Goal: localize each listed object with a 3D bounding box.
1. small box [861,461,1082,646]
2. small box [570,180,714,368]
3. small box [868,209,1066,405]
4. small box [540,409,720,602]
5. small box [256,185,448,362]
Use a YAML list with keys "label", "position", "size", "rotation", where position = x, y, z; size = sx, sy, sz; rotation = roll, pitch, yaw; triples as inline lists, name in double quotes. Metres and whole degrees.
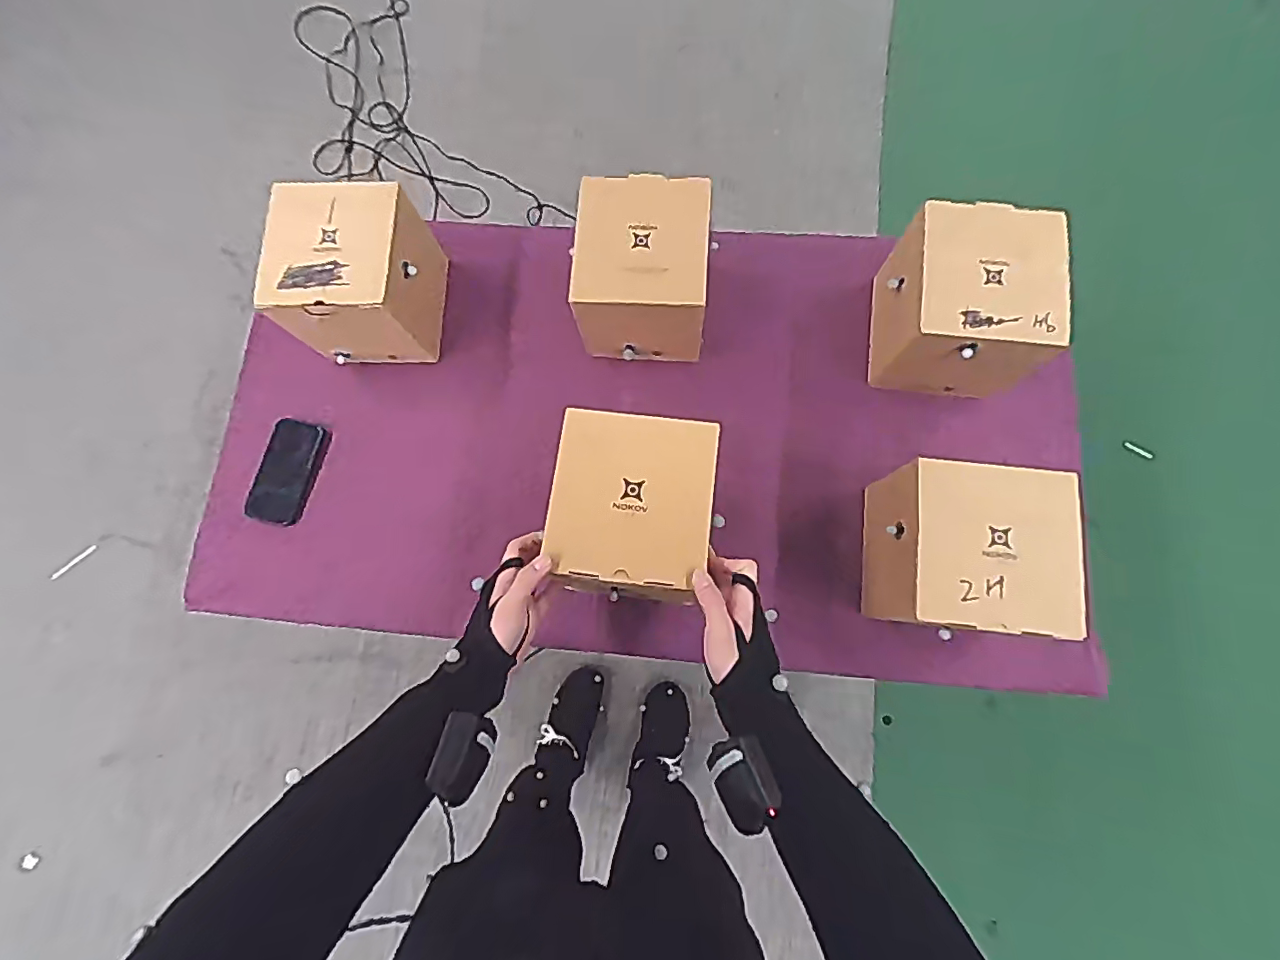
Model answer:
- label: "small box"
  position: [0.372, 0.090, 0.638]
  size: [0.168, 0.176, 0.179]
  rotation: [7, 78, 6]
- label: "small box"
  position: [0.006, -0.272, 0.738]
  size: [0.168, 0.176, 0.179]
  rotation: [4, 78, 4]
- label: "small box"
  position: [0.413, -0.217, 0.709]
  size: [0.168, 0.176, 0.179]
  rotation: [7, 77, 5]
- label: "small box"
  position: [-0.007, 0.038, 0.623]
  size: [0.168, 0.176, 0.179]
  rotation: [7, 74, 3]
- label: "small box"
  position: [-0.382, -0.275, 0.752]
  size: [0.168, 0.176, 0.179]
  rotation: [1, 77, 2]
